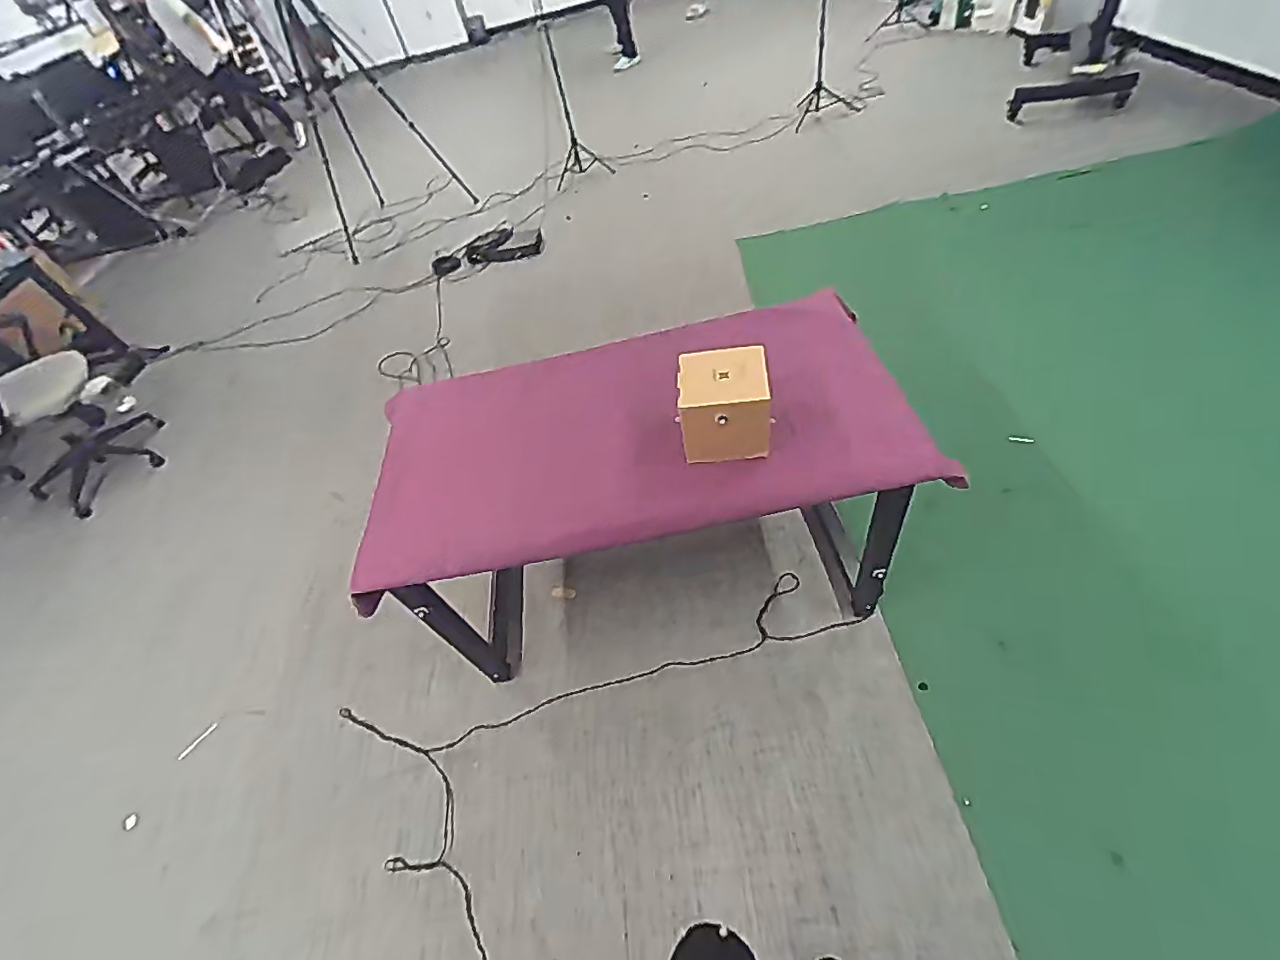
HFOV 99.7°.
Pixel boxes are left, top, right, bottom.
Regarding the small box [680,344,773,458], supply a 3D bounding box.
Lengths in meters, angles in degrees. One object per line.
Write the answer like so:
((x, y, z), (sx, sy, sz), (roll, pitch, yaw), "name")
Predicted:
((0.183, -0.158, 1.124), (0.179, 0.176, 0.168), (-3, 51, 11), "small box")
